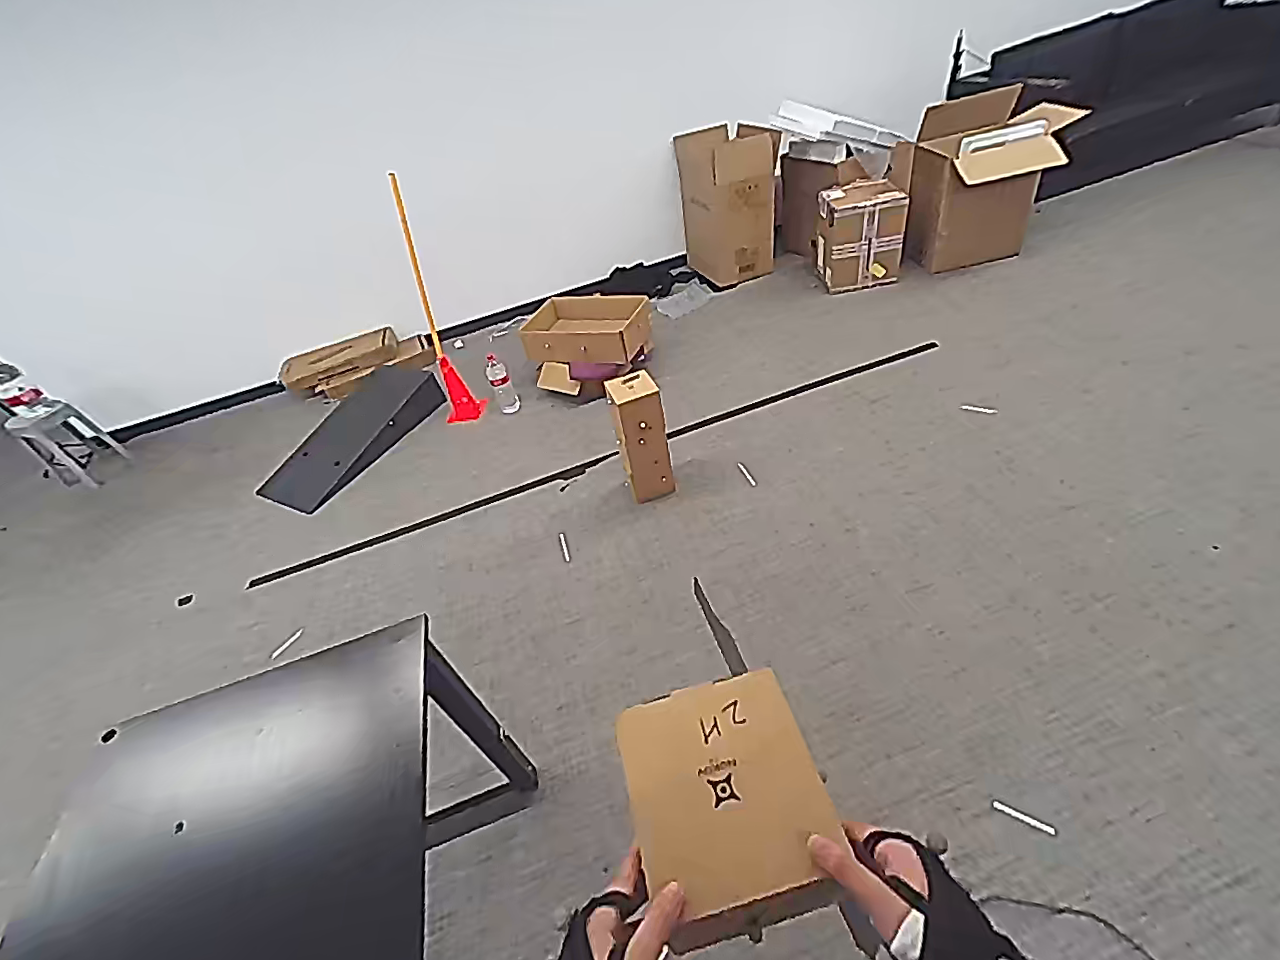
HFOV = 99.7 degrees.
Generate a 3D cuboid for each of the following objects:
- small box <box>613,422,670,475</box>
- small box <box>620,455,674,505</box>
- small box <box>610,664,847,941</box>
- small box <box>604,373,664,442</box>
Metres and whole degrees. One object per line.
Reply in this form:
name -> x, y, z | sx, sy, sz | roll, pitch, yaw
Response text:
small box -> 0.005, -0.148, 2.143 | 0.168, 0.176, 0.179 | -20, 40, -7
small box -> 0.035, -0.027, 2.249 | 0.179, 0.176, 0.168 | -20, 40, -5
small box -> 0.078, 0.317, 0.529 | 0.168, 0.176, 0.179 | -15, 43, -5
small box -> -0.021, -0.272, 2.037 | 0.168, 0.176, 0.179 | -20, 41, -7
